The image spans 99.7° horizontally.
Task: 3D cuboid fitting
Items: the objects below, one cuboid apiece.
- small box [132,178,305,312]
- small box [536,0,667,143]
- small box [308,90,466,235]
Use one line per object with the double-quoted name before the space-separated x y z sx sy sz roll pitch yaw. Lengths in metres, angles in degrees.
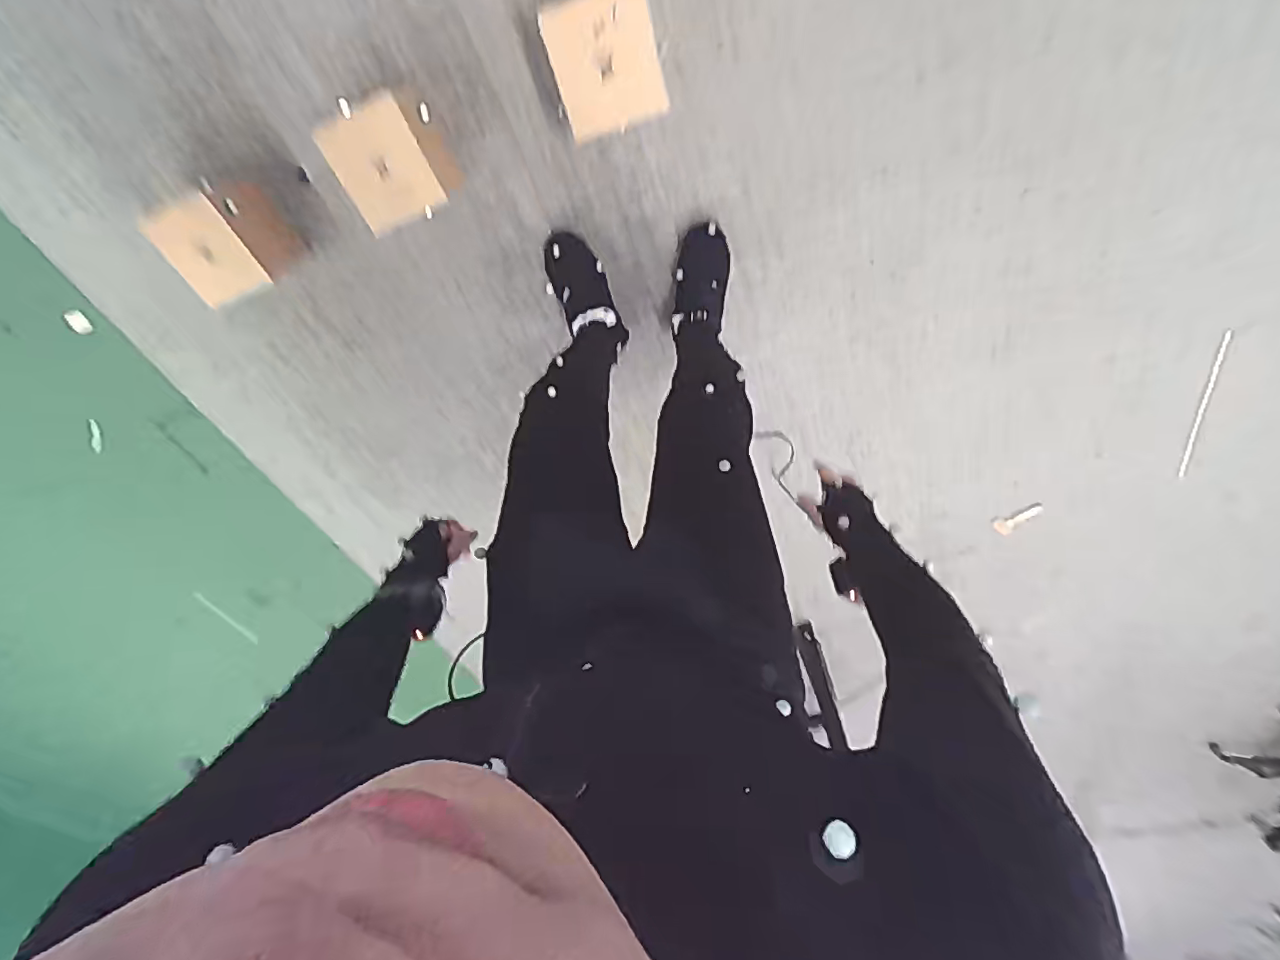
"small box" -0.821 -0.471 1.078 0.168 0.176 0.179 -17 126 13
"small box" -0.054 -0.696 0.899 0.168 0.176 0.179 -13 128 9
"small box" -0.448 -0.584 0.990 0.168 0.176 0.179 -17 127 13
